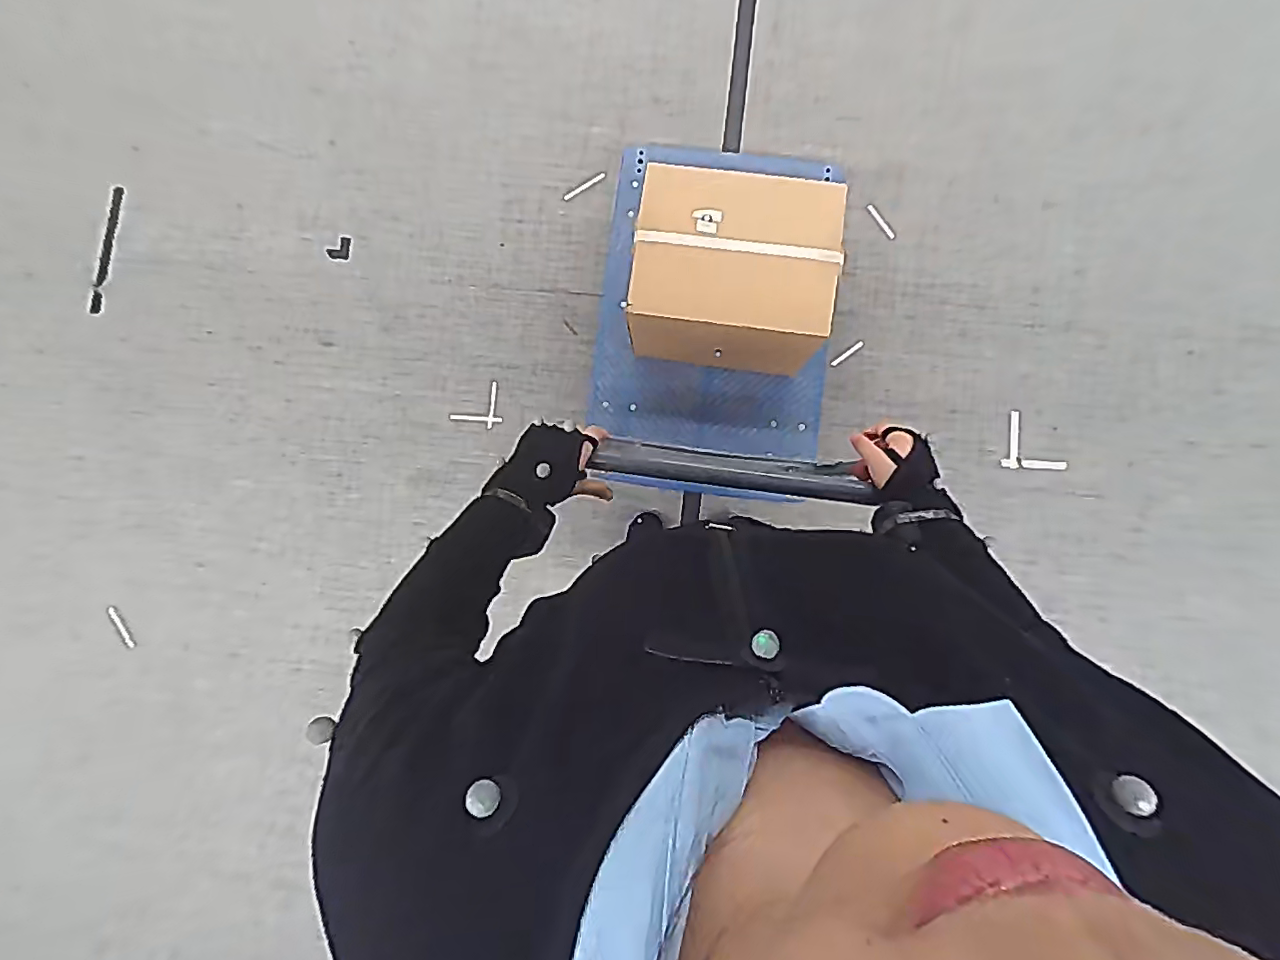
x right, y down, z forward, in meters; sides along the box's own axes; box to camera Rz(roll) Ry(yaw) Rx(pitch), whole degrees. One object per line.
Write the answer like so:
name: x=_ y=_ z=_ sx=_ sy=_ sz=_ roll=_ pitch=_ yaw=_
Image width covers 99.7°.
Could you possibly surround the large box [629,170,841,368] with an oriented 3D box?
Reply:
large box: x=0.203 y=-0.458 z=1.238 sx=0.408 sy=0.320 sz=0.320 roll=7 pitch=86 yaw=4
